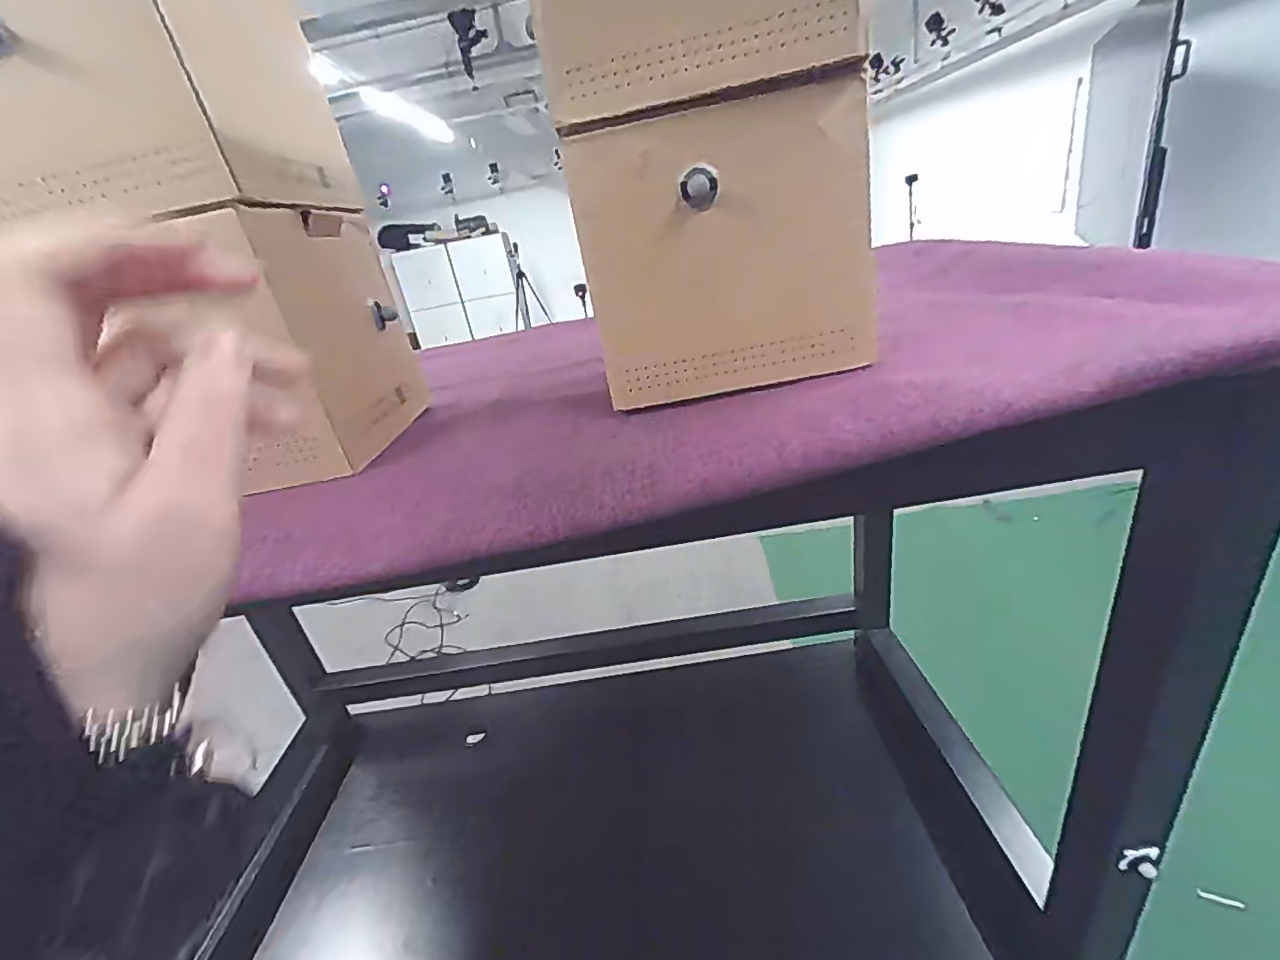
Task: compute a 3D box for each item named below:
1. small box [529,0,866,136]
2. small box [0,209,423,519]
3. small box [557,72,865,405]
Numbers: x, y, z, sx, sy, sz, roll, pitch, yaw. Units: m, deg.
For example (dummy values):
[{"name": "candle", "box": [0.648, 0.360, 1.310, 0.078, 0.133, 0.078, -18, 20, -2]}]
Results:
[{"name": "small box", "box": [0.026, -0.310, 0.336, 0.179, 0.176, 0.168, -9, 23, 8]}, {"name": "small box", "box": [-0.289, -0.091, 0.401, 0.179, 0.176, 0.168, -11, 24, 2]}, {"name": "small box", "box": [0.053, -0.162, 0.403, 0.179, 0.176, 0.168, -9, 23, 4]}]
